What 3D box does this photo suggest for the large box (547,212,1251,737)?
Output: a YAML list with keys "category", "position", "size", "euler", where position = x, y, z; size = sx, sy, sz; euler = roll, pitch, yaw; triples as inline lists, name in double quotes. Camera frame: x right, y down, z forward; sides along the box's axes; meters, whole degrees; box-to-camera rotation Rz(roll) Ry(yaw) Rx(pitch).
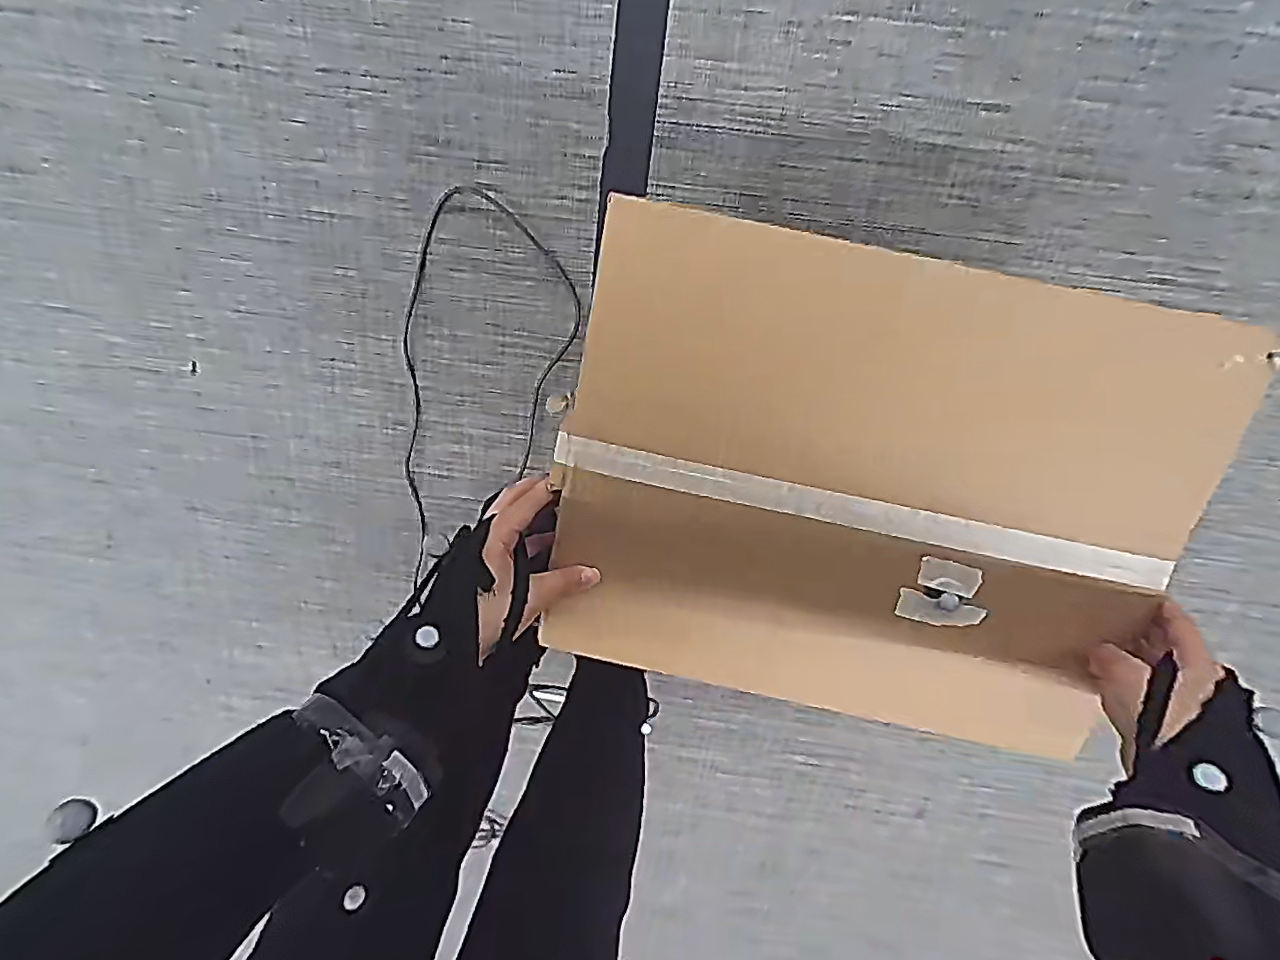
- category: "large box"
  position: [0.156, -0.025, 0.512]
  size: [0.408, 0.320, 0.320]
  euler: [12, 107, 1]
